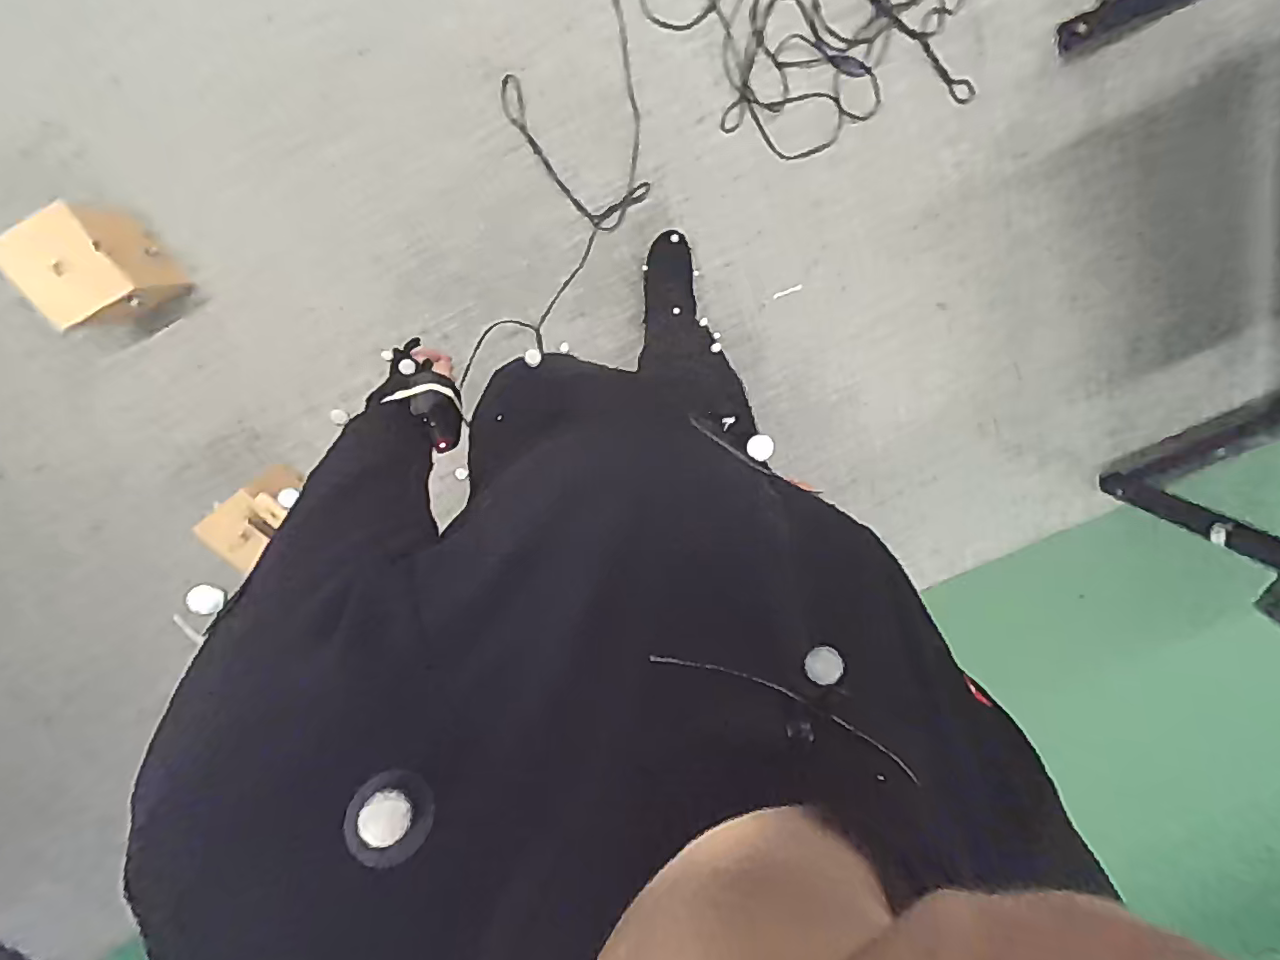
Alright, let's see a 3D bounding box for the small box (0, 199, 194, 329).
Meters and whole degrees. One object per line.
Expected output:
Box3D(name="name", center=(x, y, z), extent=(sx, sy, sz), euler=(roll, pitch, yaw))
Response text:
Box3D(name="small box", center=(-1.030, -0.410, 1.040), extent=(0.179, 0.176, 0.168), euler=(-26, 112, 5))
